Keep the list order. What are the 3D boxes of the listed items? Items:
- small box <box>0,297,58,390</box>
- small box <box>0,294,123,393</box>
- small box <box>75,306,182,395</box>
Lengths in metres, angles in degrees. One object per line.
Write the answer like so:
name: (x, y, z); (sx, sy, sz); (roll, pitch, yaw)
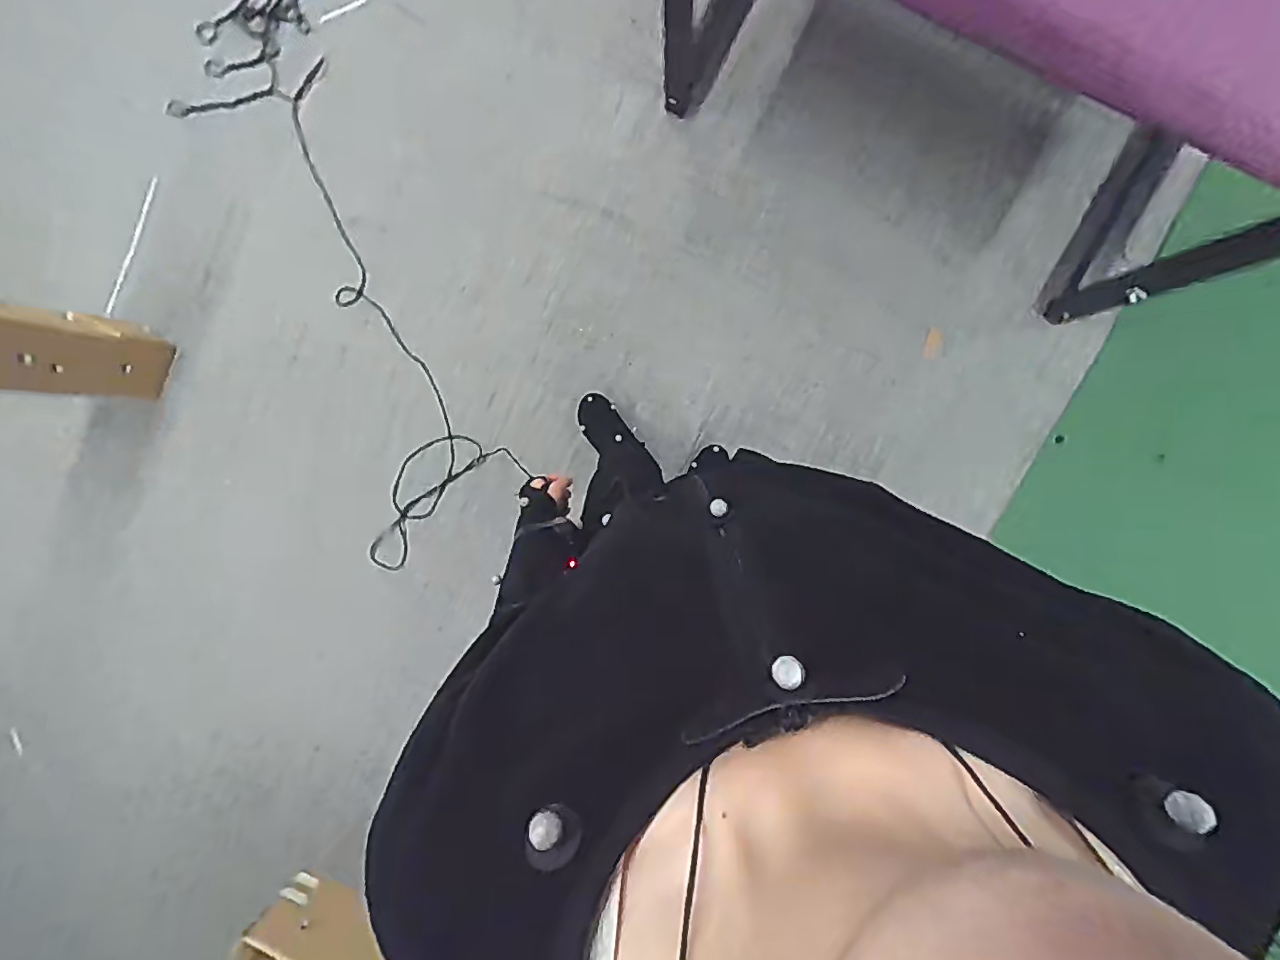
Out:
small box: (-1.445, -0.311, 1.175); (0.168, 0.176, 0.179); (25, 95, 1)
small box: (-1.450, -0.327, 1.338); (0.168, 0.176, 0.179); (27, 96, 0)
small box: (-1.434, -0.349, 1.500); (0.168, 0.176, 0.179); (26, 95, 1)
